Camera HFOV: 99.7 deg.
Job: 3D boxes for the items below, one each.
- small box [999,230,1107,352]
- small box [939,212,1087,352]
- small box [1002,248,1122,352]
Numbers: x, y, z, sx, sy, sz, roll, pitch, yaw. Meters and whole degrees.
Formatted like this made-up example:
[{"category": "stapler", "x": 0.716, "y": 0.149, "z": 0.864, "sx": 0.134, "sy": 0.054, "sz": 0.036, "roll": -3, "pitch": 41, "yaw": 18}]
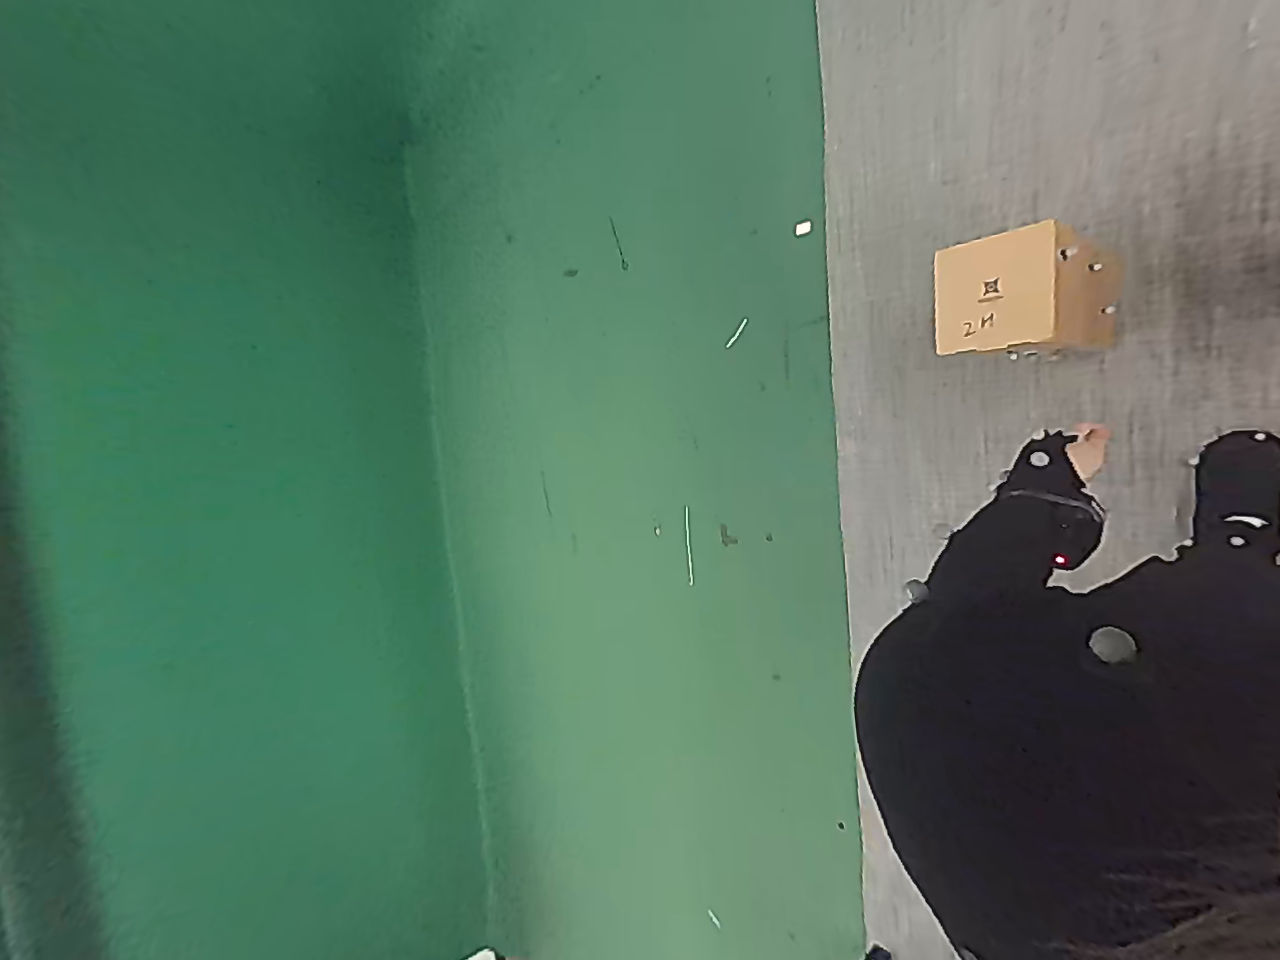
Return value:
[{"category": "small box", "x": 0.740, "y": -0.337, "z": 1.002, "sx": 0.168, "sy": 0.176, "sz": 0.179, "roll": 3, "pitch": 100, "yaw": 51}, {"category": "small box", "x": 0.616, "y": -0.313, "z": 0.895, "sx": 0.168, "sy": 0.176, "sz": 0.179, "roll": 3, "pitch": 99, "yaw": 51}, {"category": "small box", "x": 0.861, "y": -0.360, "z": 1.108, "sx": 0.168, "sy": 0.176, "sz": 0.179, "roll": 7, "pitch": 103, "yaw": 49}]
